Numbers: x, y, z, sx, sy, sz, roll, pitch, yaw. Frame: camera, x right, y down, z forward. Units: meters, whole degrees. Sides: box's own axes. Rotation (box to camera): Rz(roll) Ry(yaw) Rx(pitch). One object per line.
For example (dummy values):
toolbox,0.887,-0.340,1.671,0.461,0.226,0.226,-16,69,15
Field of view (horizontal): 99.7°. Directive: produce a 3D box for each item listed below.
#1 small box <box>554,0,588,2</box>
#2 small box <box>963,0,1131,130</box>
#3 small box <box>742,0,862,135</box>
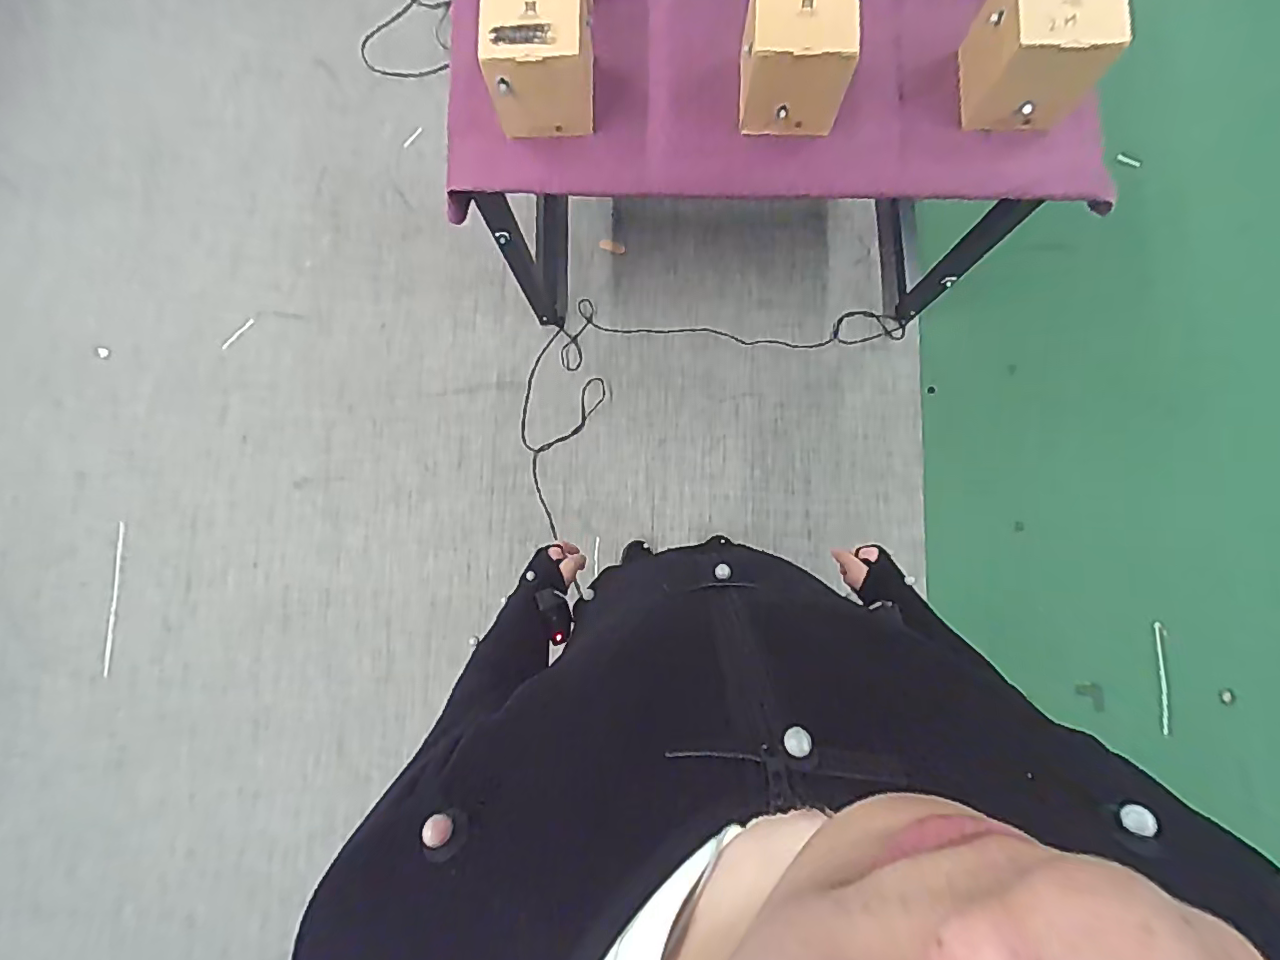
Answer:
small box,-0.170,-1.020,0.983,0.168,0.176,0.179,2,84,2
small box,0.676,-0.739,0.918,0.168,0.176,0.179,3,82,4
small box,0.272,-0.743,0.938,0.168,0.176,0.179,2,83,2
